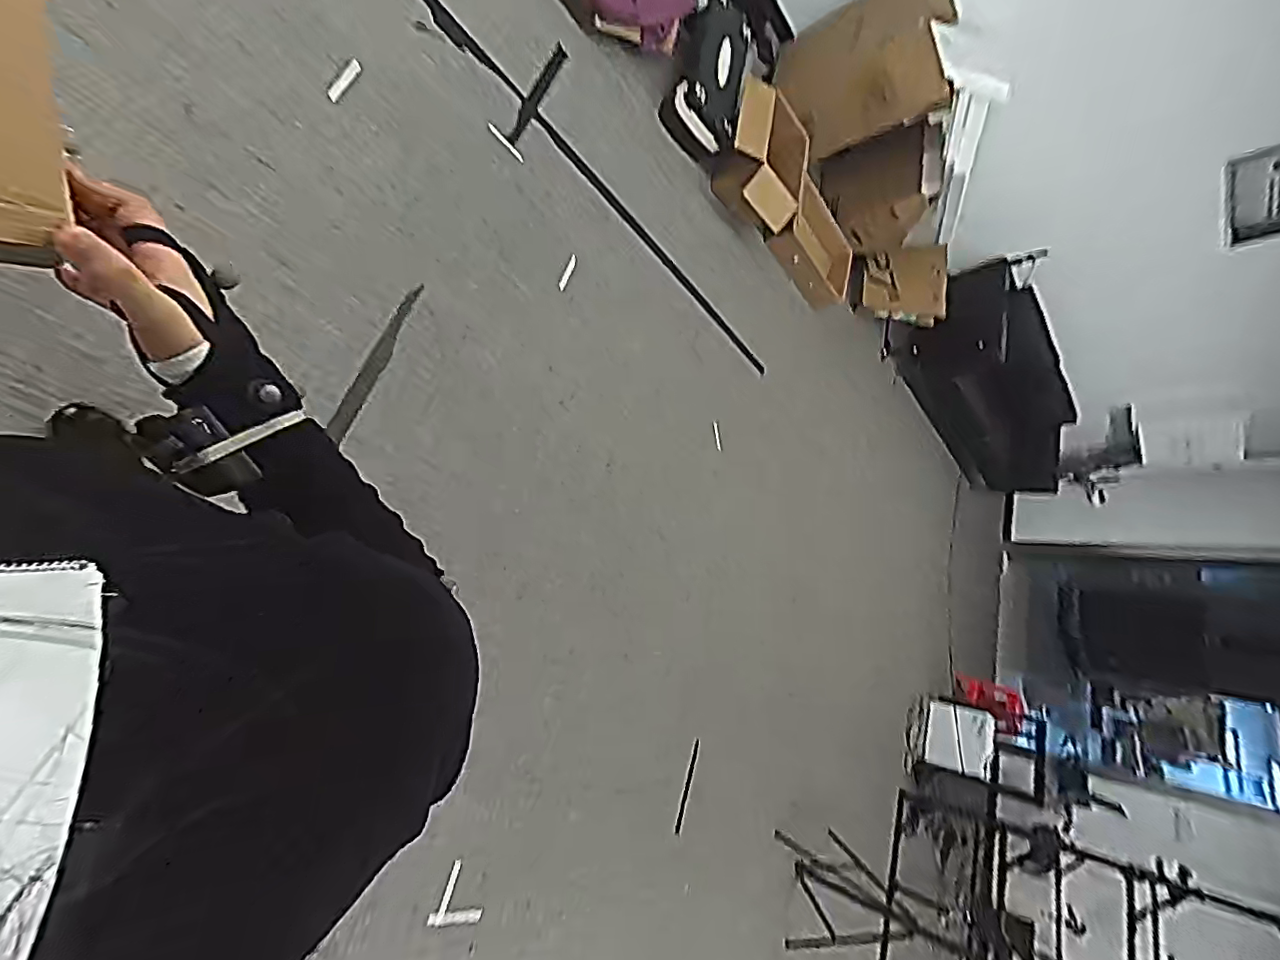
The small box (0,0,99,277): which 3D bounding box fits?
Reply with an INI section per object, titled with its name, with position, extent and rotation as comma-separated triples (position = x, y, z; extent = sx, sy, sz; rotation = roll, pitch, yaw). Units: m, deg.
[small box]
position = -0.391, -0.197, 0.254
extent = 0.179, 0.176, 0.168
rotation = -8, 108, -49
